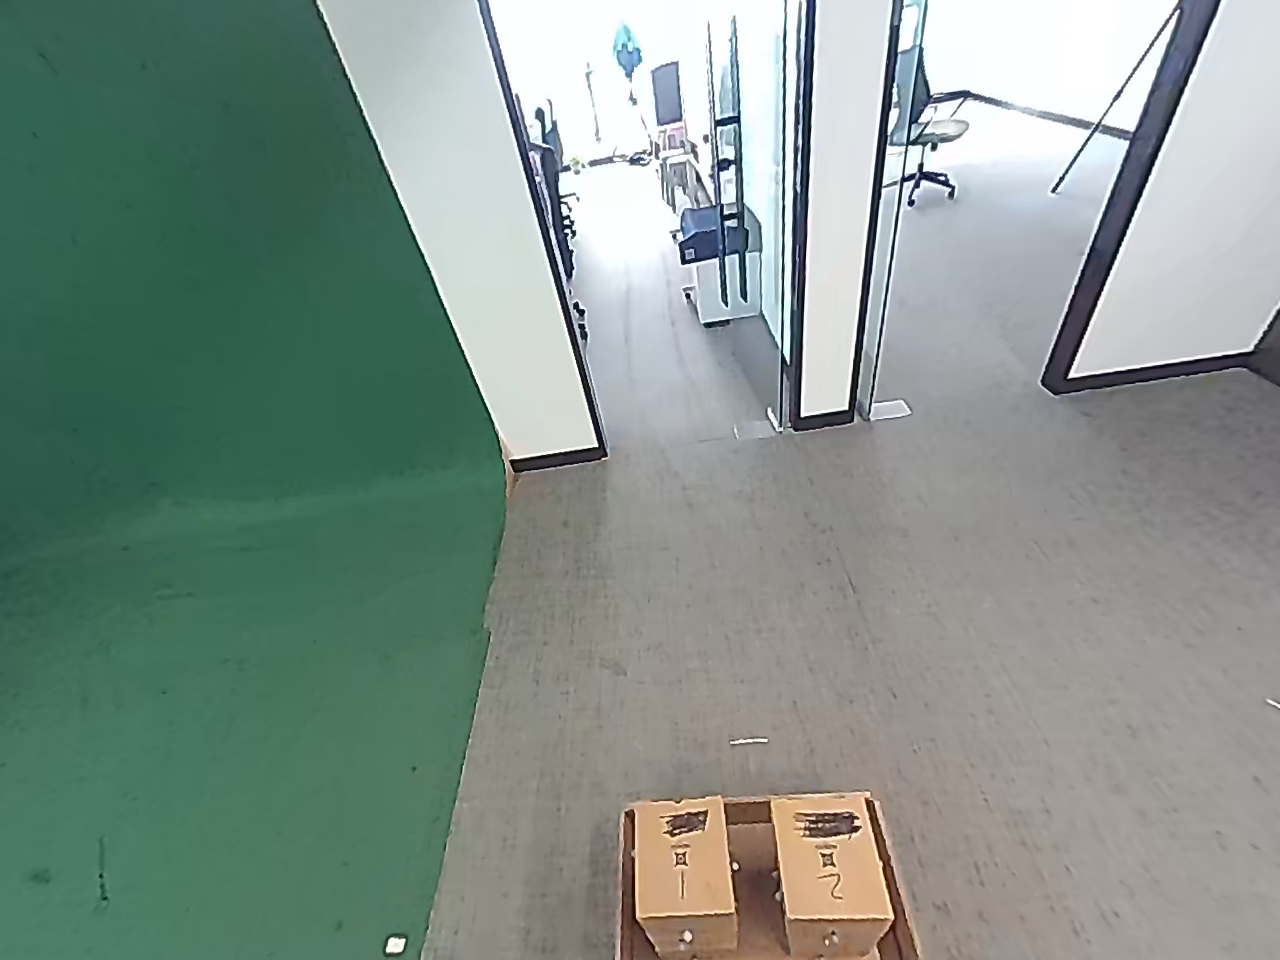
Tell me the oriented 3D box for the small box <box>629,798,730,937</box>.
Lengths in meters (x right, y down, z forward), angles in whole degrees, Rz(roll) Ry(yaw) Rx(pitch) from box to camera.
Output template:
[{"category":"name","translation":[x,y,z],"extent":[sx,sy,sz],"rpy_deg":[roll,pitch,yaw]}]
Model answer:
[{"category":"small box","translation":[0.073,0.710,0.992],"extent":[0.168,0.176,0.179],"rpy_deg":[-6,42,5]}]

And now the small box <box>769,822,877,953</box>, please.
[{"category":"small box","translation":[0.352,0.807,1.071],"extent":[0.168,0.176,0.179],"rpy_deg":[-8,40,7]}]

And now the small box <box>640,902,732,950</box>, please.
[{"category":"small box","translation":[0.092,0.833,1.100],"extent":[0.168,0.176,0.179],"rpy_deg":[-7,40,5]}]

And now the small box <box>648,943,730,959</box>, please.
[{"category":"small box","translation":[0.110,0.953,1.206],"extent":[0.168,0.176,0.179],"rpy_deg":[-5,41,5]}]
